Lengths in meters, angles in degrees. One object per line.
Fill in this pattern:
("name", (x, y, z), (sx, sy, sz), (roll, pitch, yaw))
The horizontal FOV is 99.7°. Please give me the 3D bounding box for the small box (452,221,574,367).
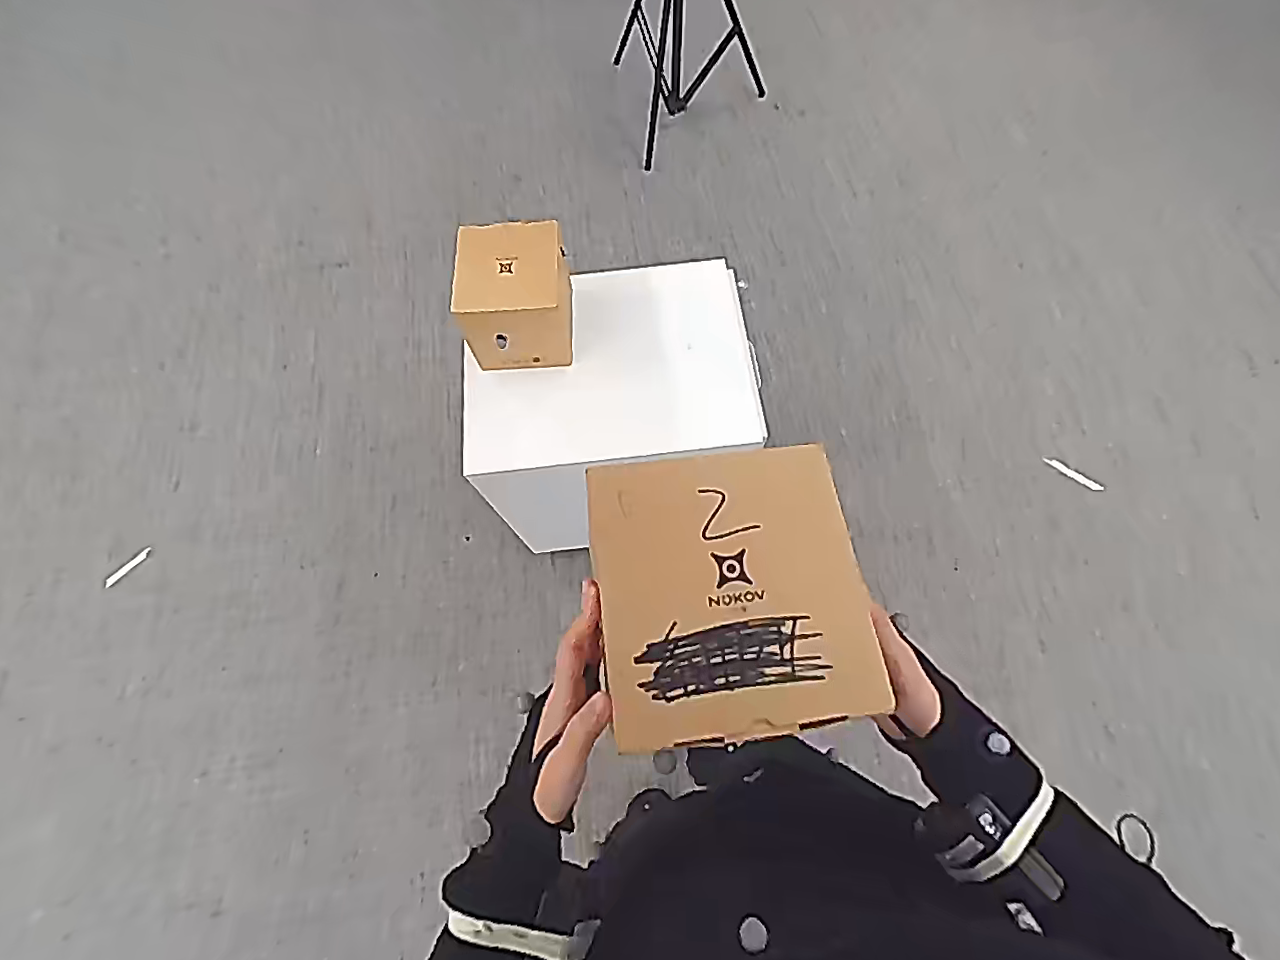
("small box", (-0.206, -0.306, 0.923), (0.168, 0.176, 0.179), (-3, 69, 0))
